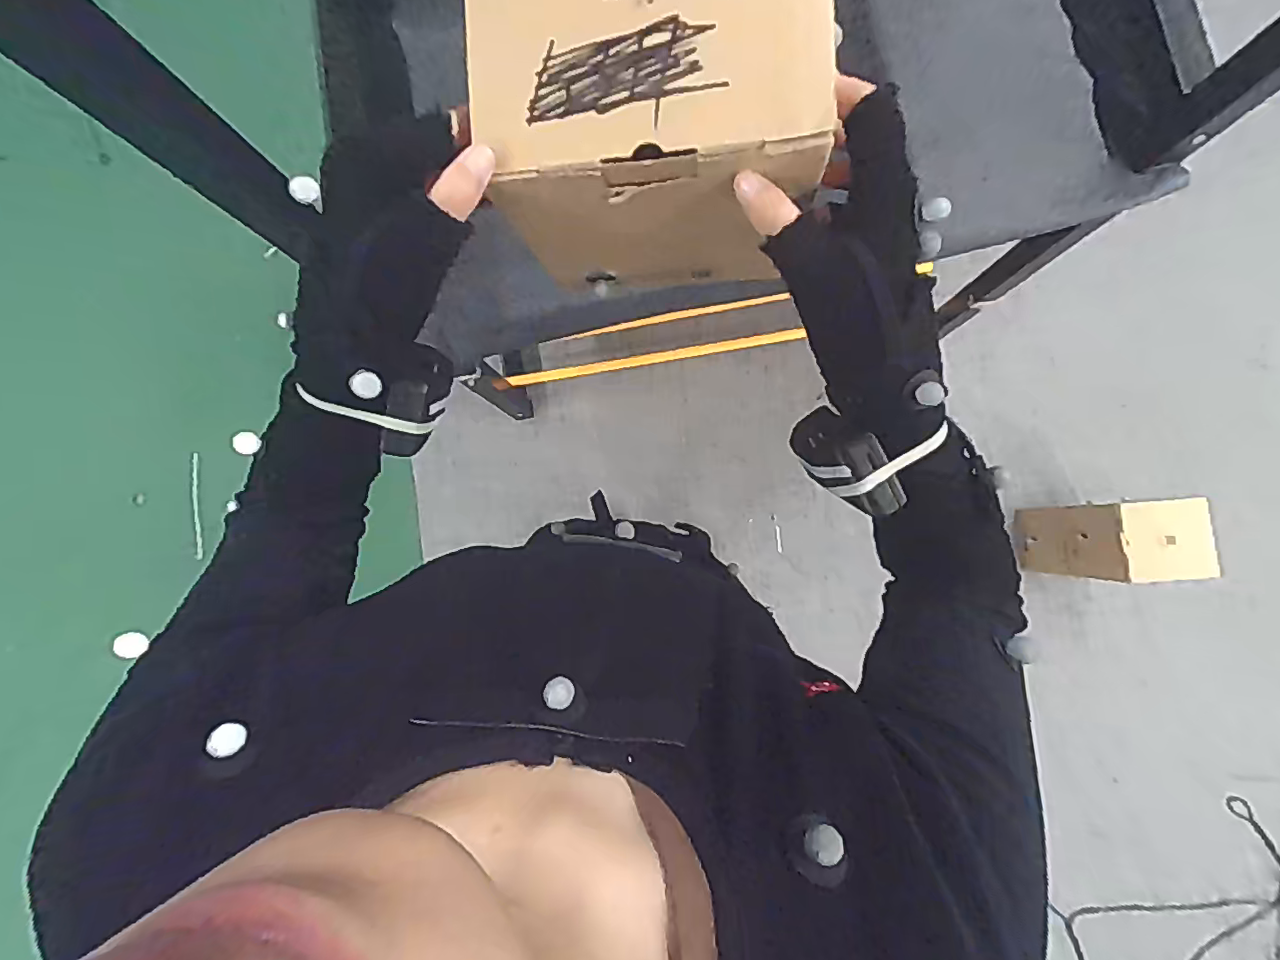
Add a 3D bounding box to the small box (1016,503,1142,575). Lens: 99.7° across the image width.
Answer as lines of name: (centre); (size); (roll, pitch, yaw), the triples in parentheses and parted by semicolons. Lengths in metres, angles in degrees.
small box: (1.085, 0.145, 1.349); (0.179, 0.176, 0.168); (-3, 84, 4)
